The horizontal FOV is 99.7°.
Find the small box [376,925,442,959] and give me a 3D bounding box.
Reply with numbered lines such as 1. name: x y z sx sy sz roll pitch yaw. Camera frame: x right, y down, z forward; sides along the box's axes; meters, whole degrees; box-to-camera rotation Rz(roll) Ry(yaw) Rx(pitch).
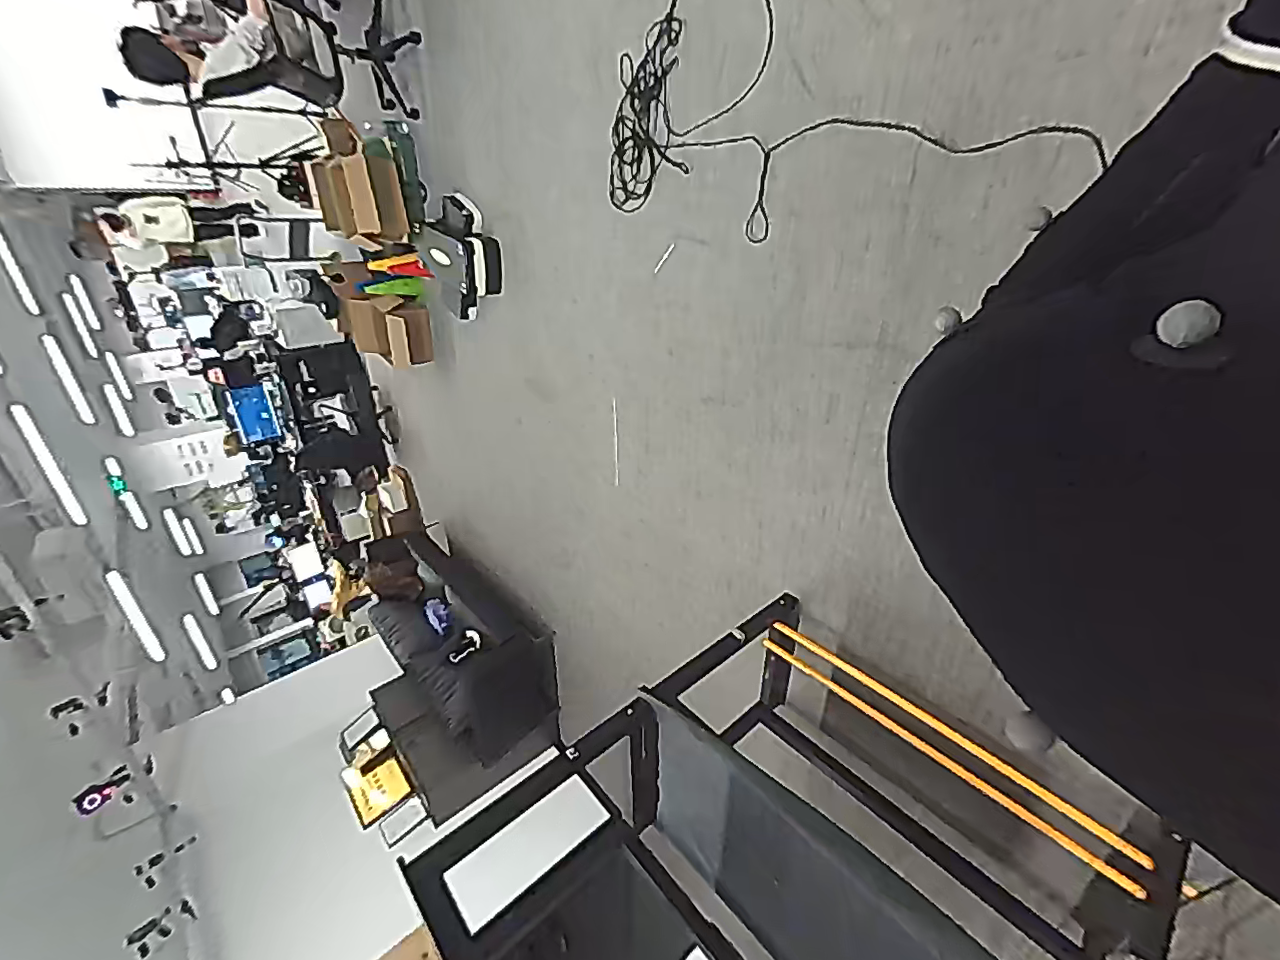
1. small box: -0.489 1.104 1.137 0.168 0.176 0.179 32 131 39
